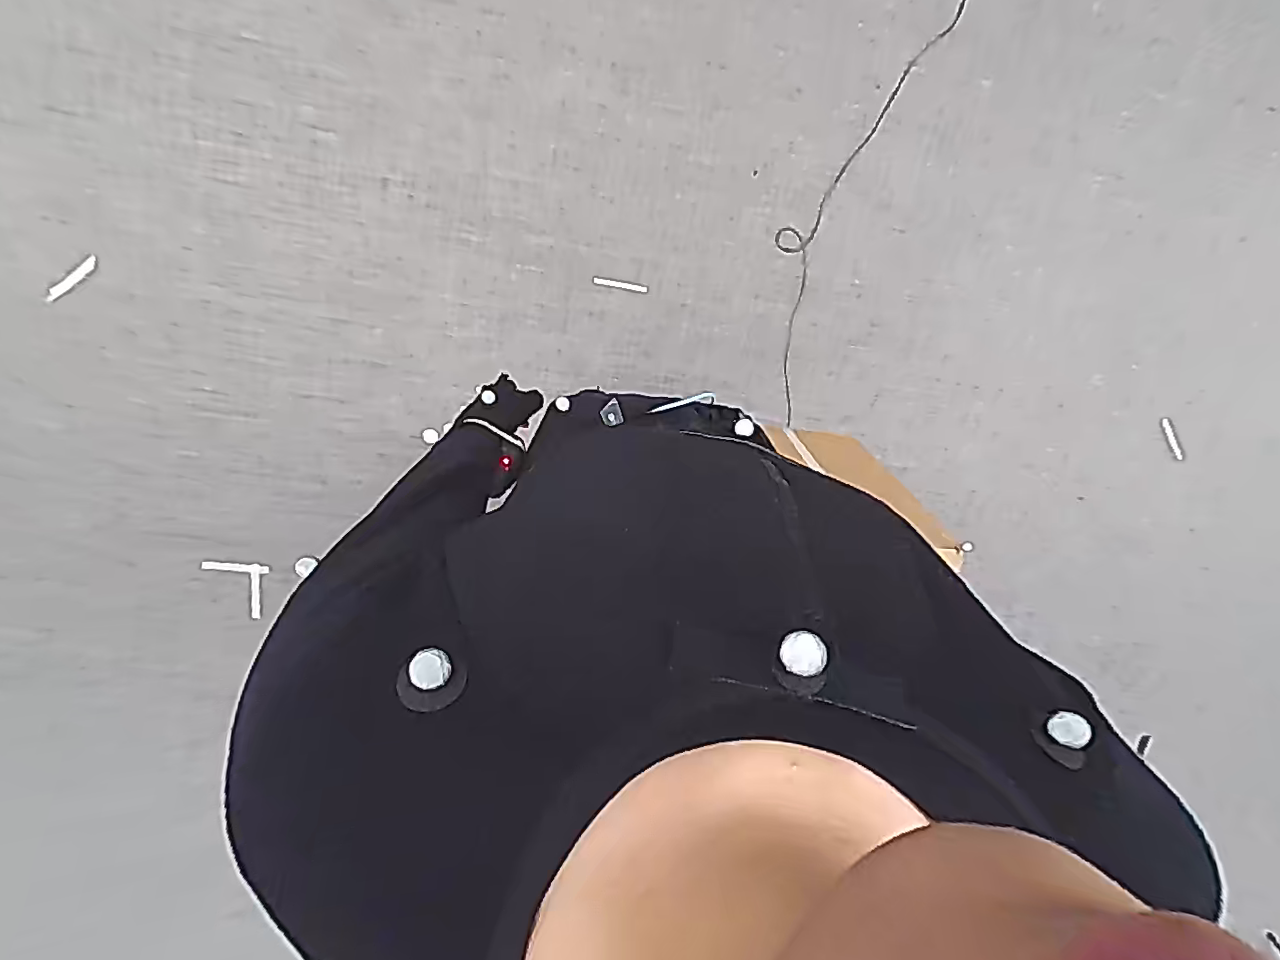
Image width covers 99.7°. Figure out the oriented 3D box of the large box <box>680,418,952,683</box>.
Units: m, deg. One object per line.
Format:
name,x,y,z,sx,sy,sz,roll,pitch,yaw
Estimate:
large box,0.279,0.117,1.028,0.320,0.408,0.320,5,120,-8
